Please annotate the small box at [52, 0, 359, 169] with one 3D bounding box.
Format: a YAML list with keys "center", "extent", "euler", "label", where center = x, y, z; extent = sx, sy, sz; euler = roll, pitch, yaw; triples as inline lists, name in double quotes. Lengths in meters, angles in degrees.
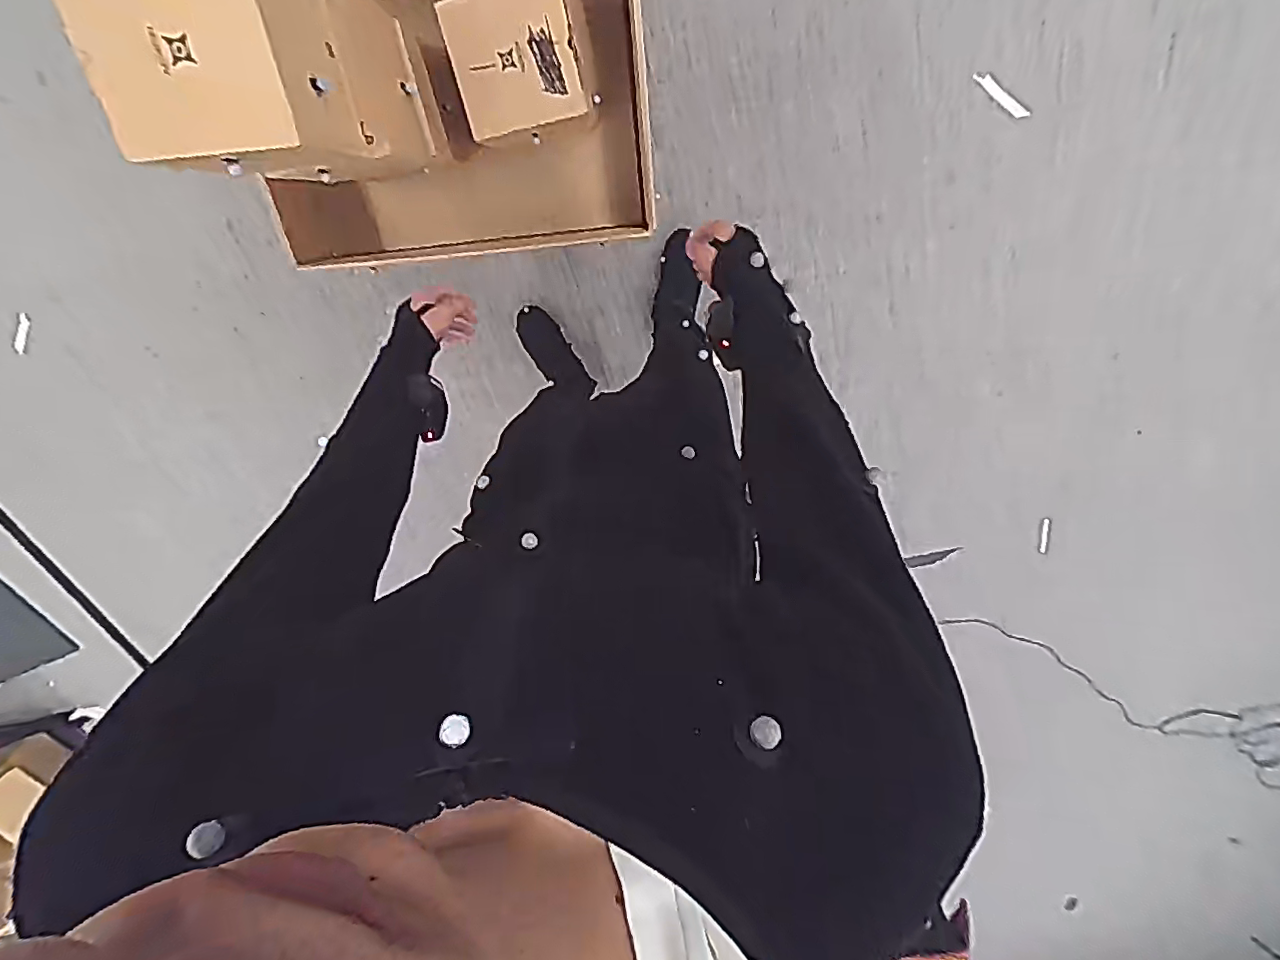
- center: [-0.418, -0.423, 0.553]
  extent: [0.179, 0.176, 0.168]
  euler: [-6, 117, 1]
  label: "small box"

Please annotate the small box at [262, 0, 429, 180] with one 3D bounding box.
- center: [-0.398, -0.500, 0.697]
  extent: [0.168, 0.176, 0.179]
  euler: [-8, 117, 3]
  label: "small box"
